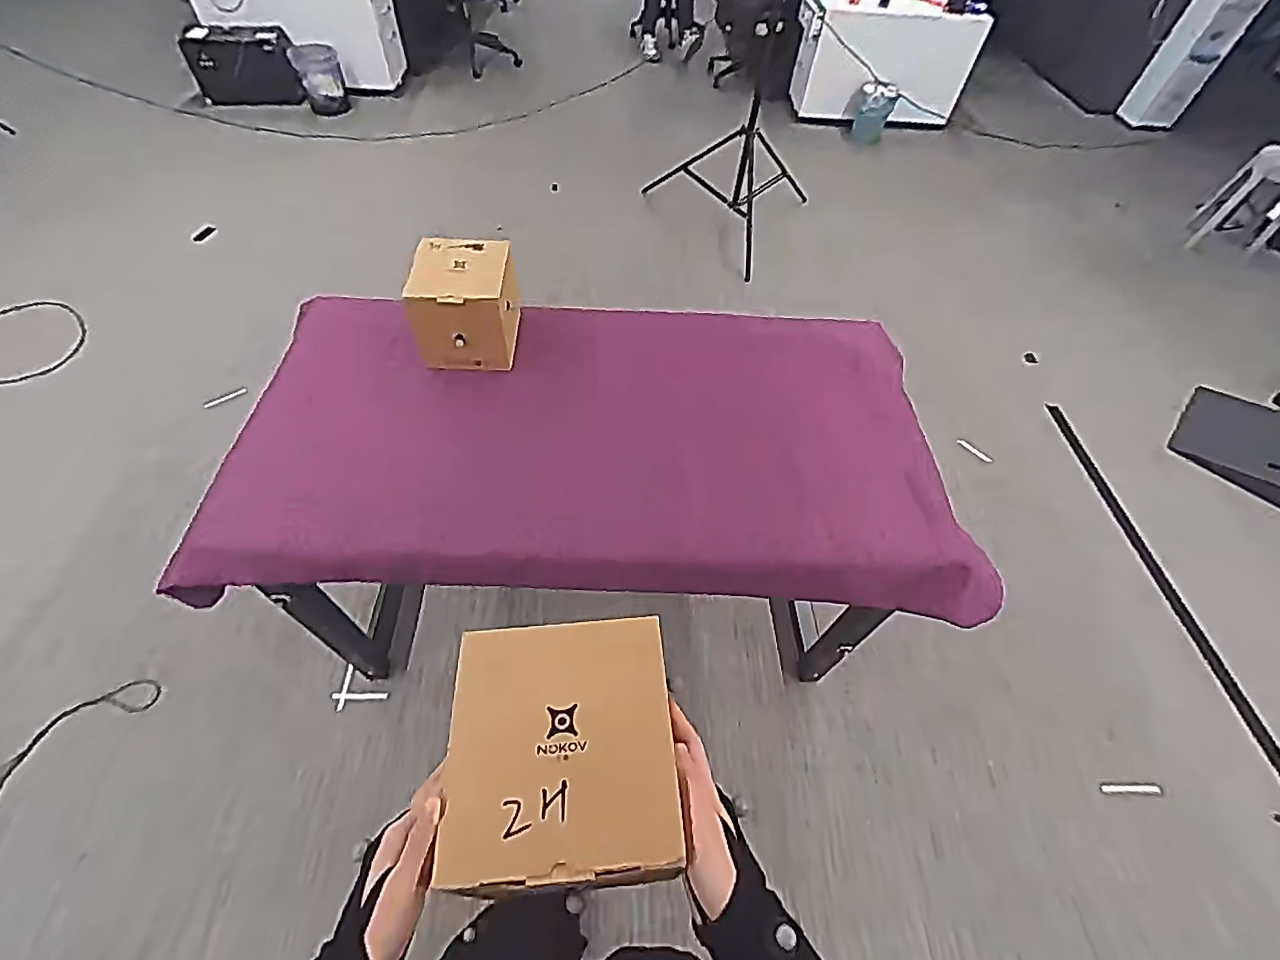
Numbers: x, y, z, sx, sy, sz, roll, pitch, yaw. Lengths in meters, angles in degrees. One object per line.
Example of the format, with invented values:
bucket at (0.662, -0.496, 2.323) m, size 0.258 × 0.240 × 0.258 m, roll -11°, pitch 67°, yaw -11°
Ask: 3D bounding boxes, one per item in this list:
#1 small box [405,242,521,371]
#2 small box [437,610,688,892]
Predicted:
small box at (-0.325, -0.325, 1.033) m, size 0.168 × 0.176 × 0.179 m, roll 1°, pitch 56°, yaw -4°
small box at (-0.055, 0.233, 0.464) m, size 0.168 × 0.176 × 0.179 m, roll -4°, pitch 50°, yaw -2°
